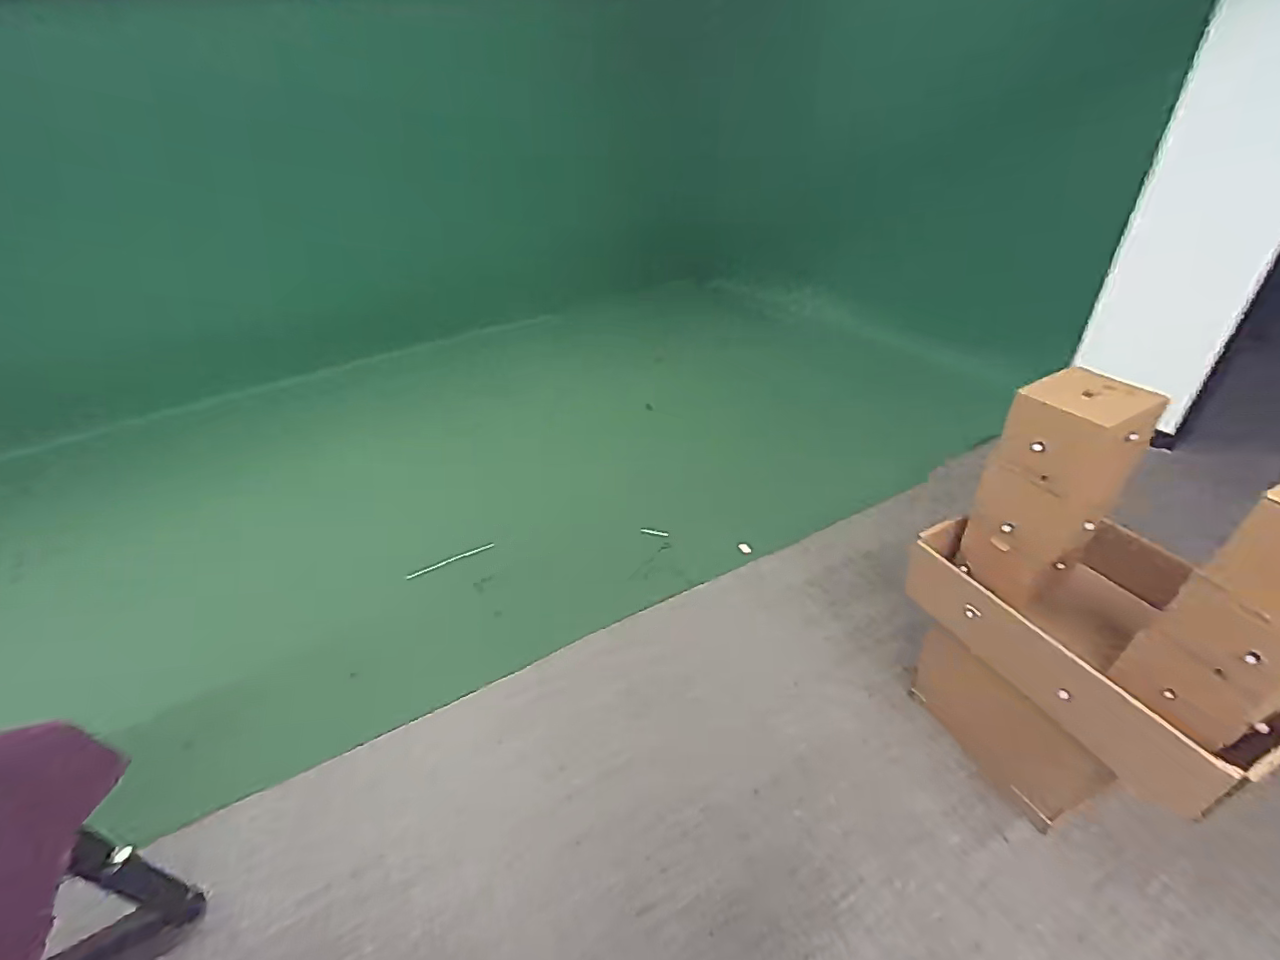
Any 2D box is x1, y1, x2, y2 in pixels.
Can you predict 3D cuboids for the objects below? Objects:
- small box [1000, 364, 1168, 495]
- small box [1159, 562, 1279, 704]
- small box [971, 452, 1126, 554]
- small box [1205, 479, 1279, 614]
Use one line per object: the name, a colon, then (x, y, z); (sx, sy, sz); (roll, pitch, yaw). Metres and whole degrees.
small box: (0.832, -0.097, 1.036); (0.179, 0.176, 0.168); (-20, 39, -16)
small box: (0.993, 0.223, 0.860); (0.179, 0.176, 0.168); (-16, 39, -12)
small box: (0.845, 0.033, 1.137); (0.168, 0.176, 0.179); (-21, 39, -18)
small box: (0.975, 0.097, 0.758); (0.168, 0.176, 0.179); (-20, 41, -16)
